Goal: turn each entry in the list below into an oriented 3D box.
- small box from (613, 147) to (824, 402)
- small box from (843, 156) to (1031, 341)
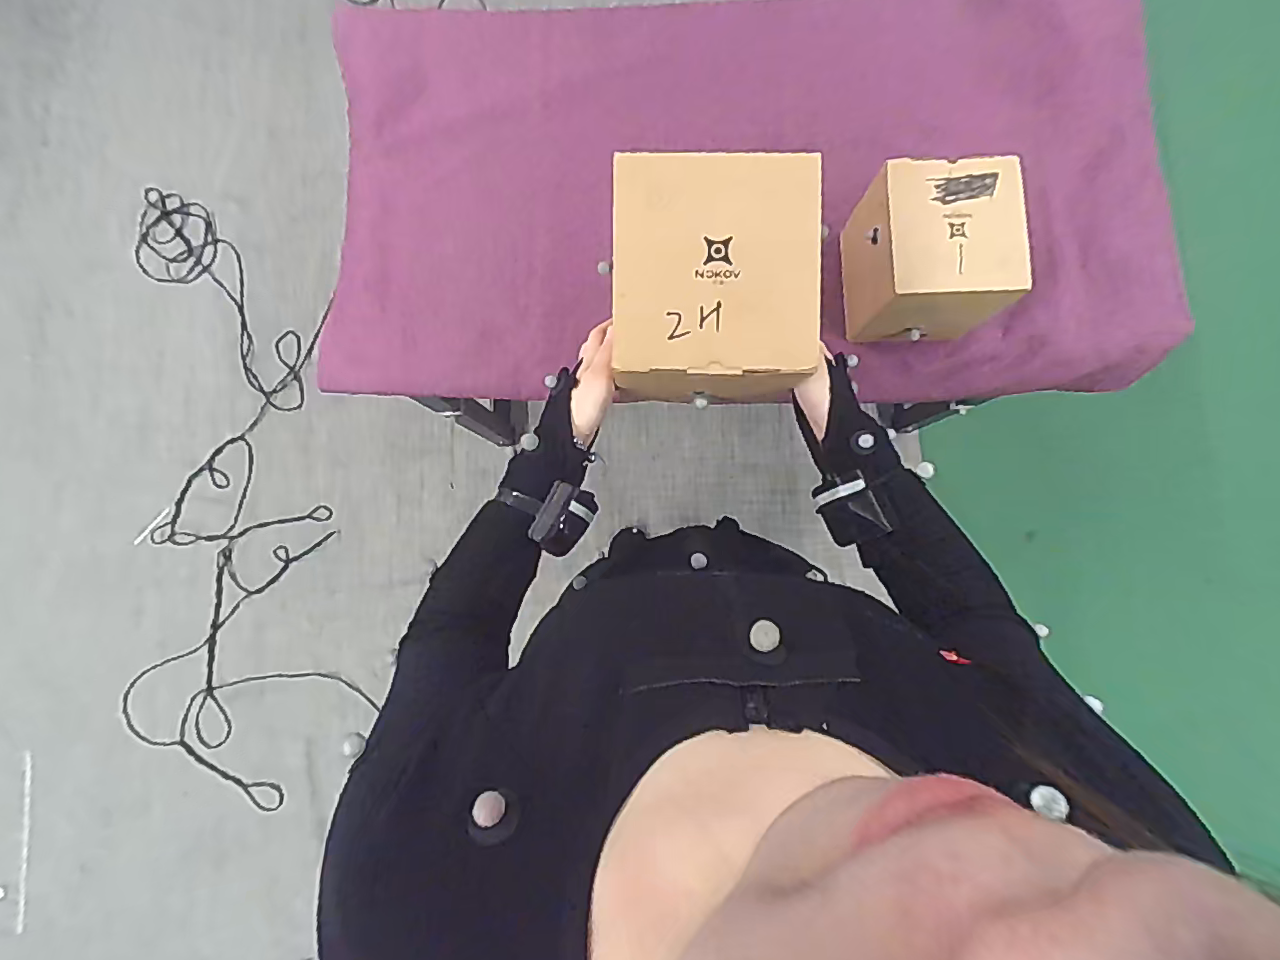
[{"bbox_3d":[0.063,-0.174,0.505,0.168,0.176,0.179,1,90,1],"label":"small box"},{"bbox_3d":[0.387,-0.304,0.738,0.168,0.176,0.179,-2,85,1],"label":"small box"}]
